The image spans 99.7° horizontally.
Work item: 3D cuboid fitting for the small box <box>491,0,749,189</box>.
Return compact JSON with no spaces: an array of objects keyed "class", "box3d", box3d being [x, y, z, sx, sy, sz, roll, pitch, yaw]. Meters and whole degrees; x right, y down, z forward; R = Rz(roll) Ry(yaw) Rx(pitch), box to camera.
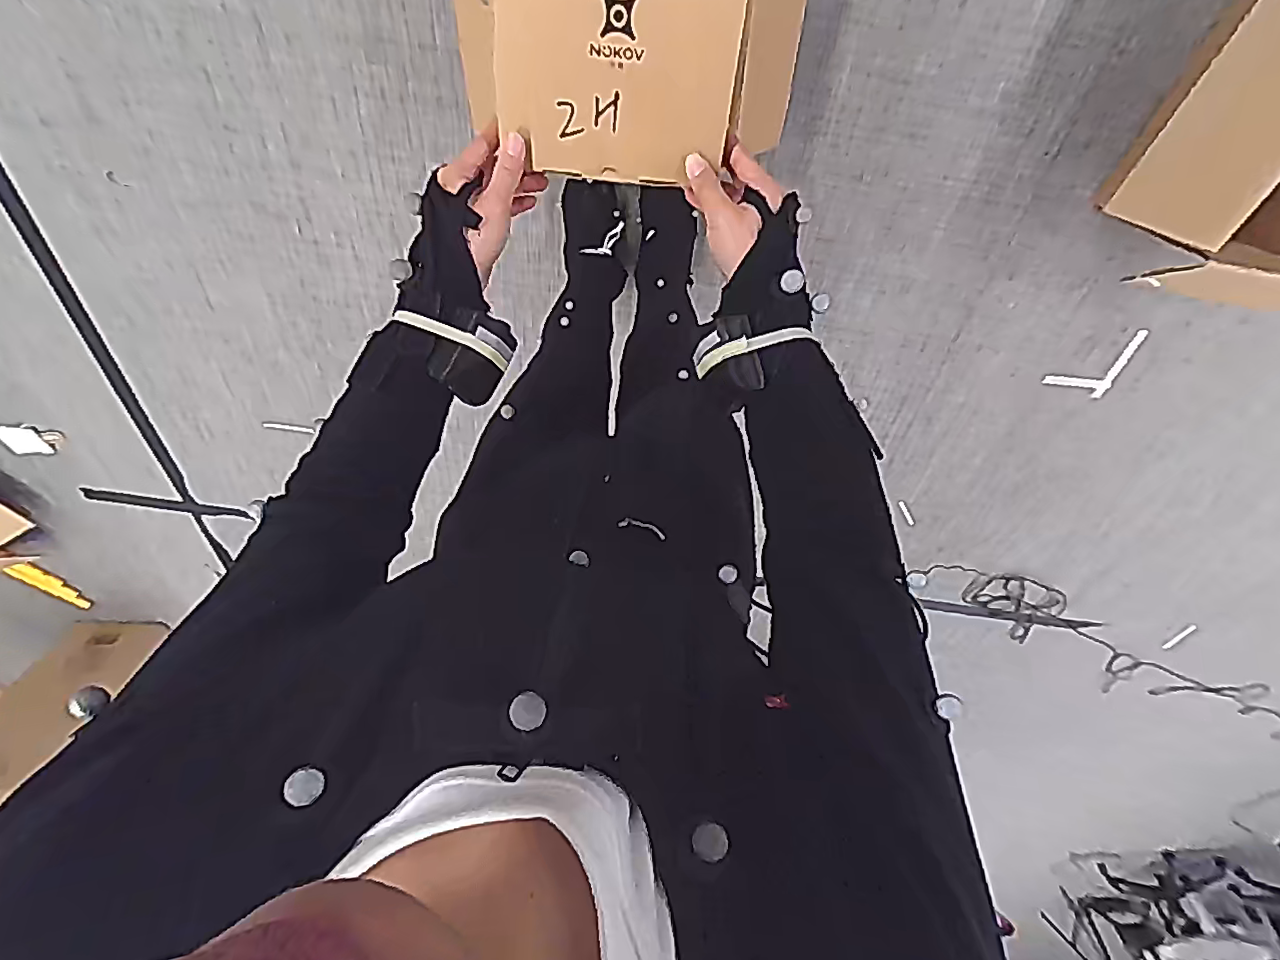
[{"class":"small box","box3d":[-0.013,-0.347,0.412,0.168,0.176,0.179,5,132,-2]}]
